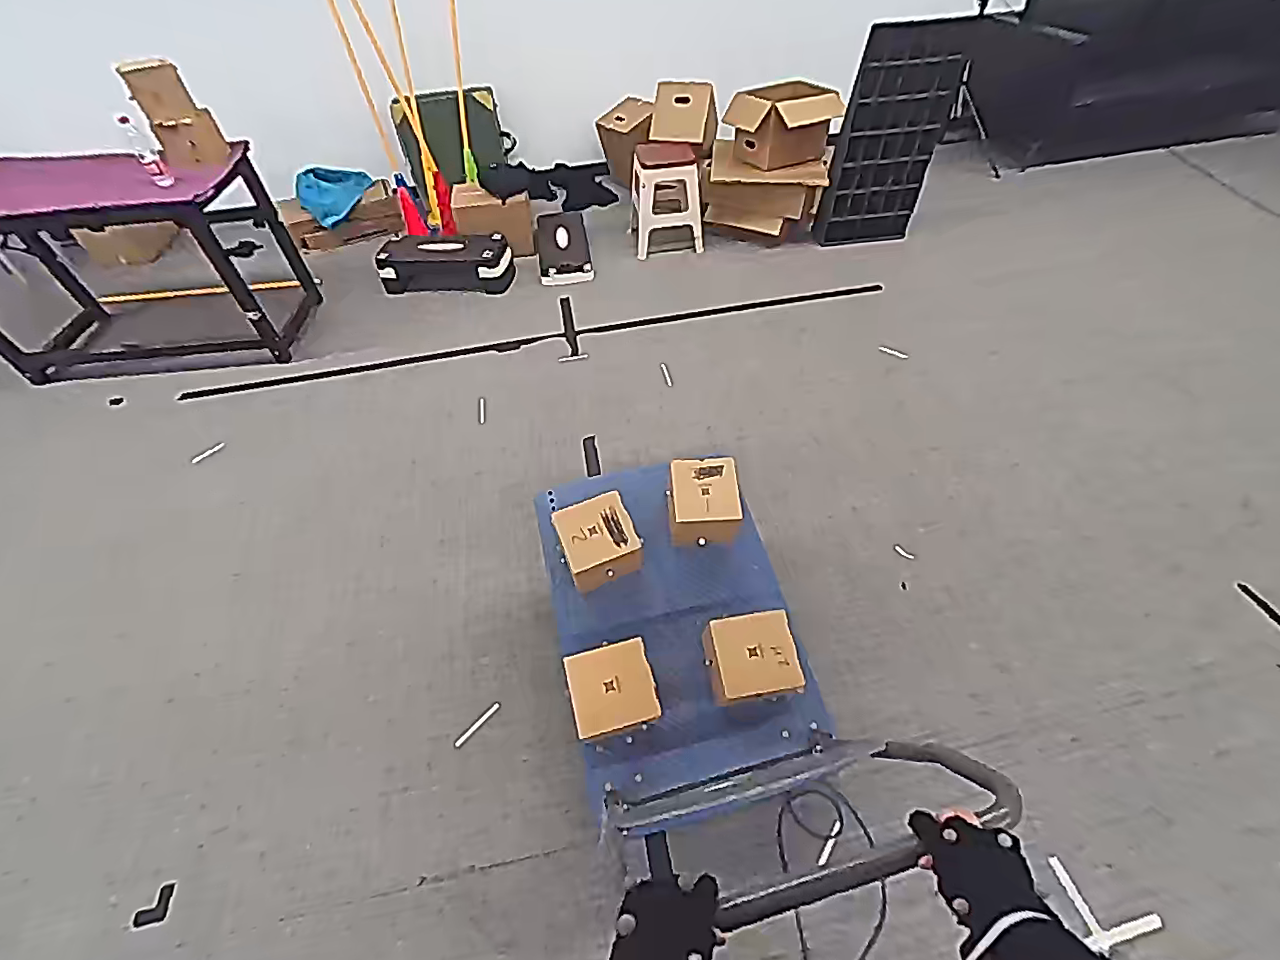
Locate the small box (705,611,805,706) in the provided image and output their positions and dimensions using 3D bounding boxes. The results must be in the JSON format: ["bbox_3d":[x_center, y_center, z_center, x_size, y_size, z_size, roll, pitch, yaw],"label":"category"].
[{"bbox_3d":[0.250,0.411,1.233,0.179,0.176,0.168,-8,63,-5],"label":"small box"}]

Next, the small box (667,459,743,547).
[{"bbox_3d":[0.162,0.063,1.417,0.168,0.176,0.179,-3,63,-2],"label":"small box"}]

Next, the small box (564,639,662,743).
[{"bbox_3d":[-0.060,0.471,1.196,0.179,0.176,0.168,-13,63,-10],"label":"small box"}]
